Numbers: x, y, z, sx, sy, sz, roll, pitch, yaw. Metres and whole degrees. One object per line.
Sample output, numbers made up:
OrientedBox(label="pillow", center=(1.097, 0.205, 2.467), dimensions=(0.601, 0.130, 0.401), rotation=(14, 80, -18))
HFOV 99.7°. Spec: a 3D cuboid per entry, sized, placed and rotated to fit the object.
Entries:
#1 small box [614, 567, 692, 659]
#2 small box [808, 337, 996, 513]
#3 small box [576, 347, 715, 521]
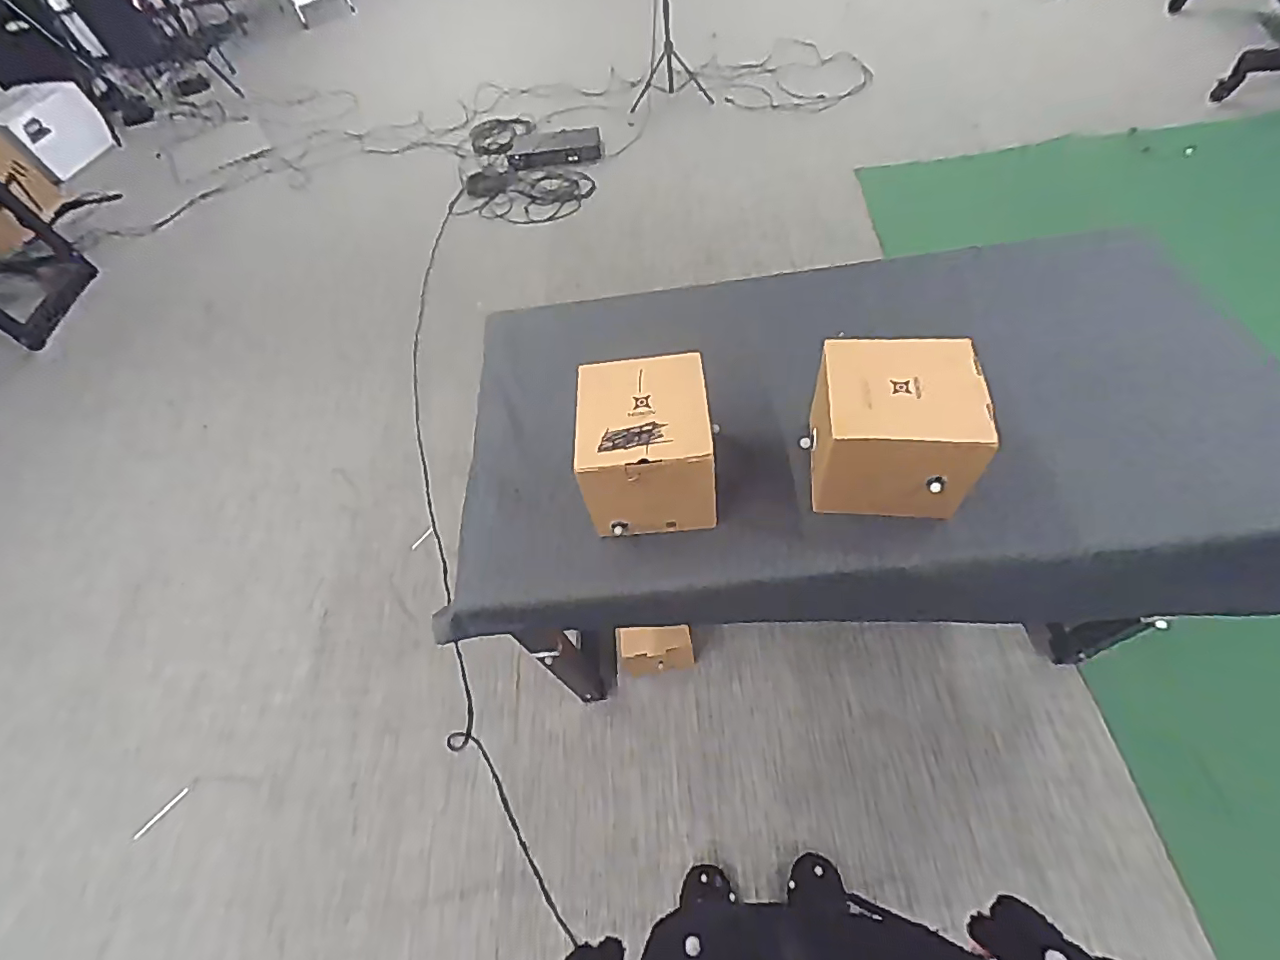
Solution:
OrientedBox(label="small box", center=(0.035, 0.341, 1.361), dimensions=(0.168, 0.176, 0.179), rotation=(-10, 58, 1))
OrientedBox(label="small box", center=(0.325, -0.067, 0.711), dimensions=(0.179, 0.176, 0.168), rotation=(2, 57, 11))
OrientedBox(label="small box", center=(0.014, -0.053, 0.741), dimensions=(0.168, 0.176, 0.179), rotation=(-4, 56, 5))
